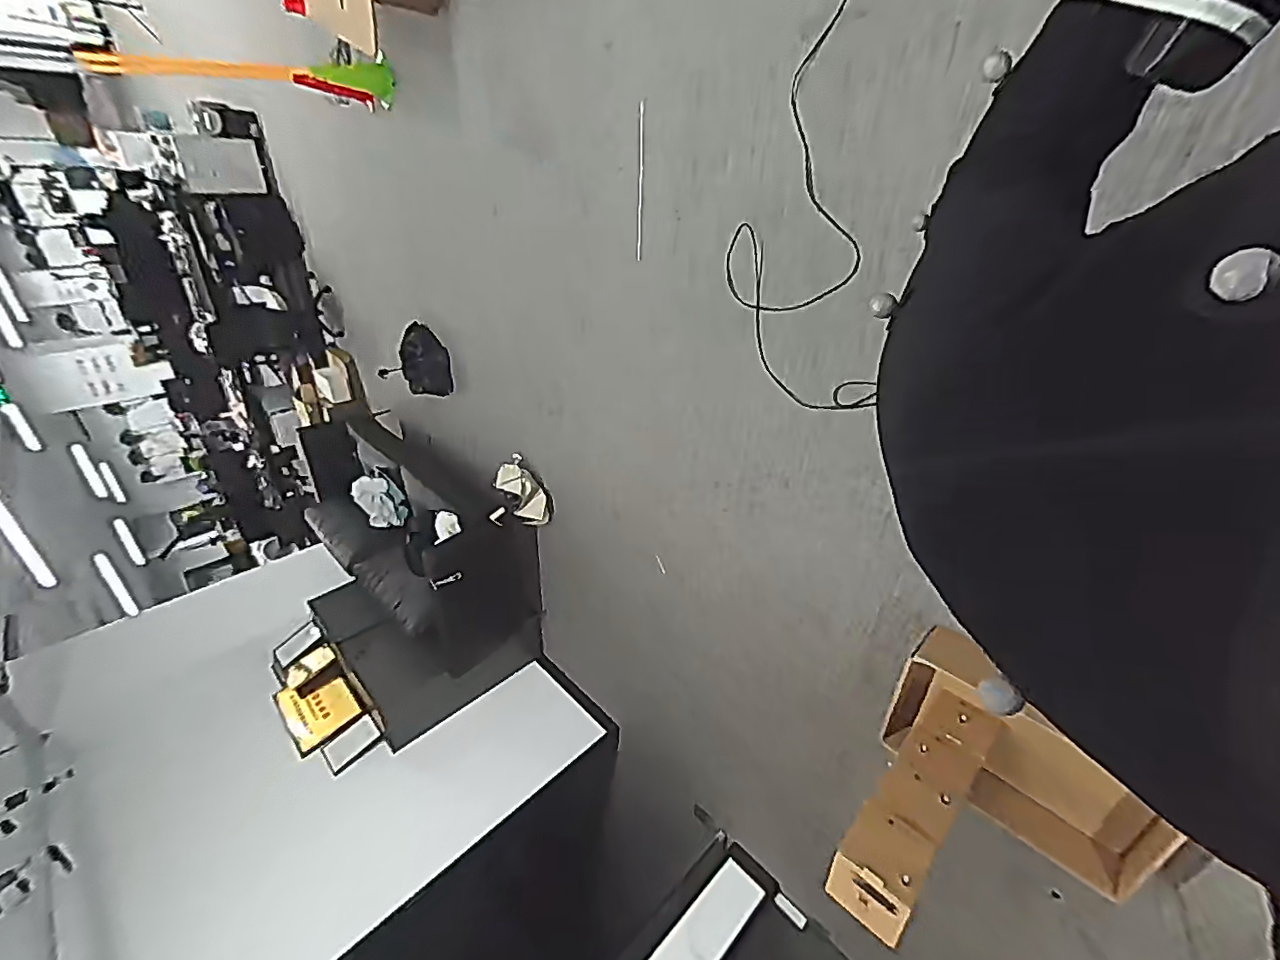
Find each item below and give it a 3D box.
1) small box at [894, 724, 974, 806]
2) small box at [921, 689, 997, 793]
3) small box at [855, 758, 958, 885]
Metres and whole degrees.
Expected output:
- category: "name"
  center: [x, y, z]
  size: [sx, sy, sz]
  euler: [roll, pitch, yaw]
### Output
- category: "small box"
  center: [0.775, 0.806, 1.461]
  size: [0.168, 0.176, 0.179]
  euler: [27, 128, 36]
- category: "small box"
  center: [0.911, 0.746, 1.567]
  size: [0.168, 0.176, 0.179]
  euler: [21, 126, 38]
- category: "small box"
  center: [0.674, 0.851, 1.364]
  size: [0.168, 0.176, 0.179]
  euler: [28, 129, 36]
